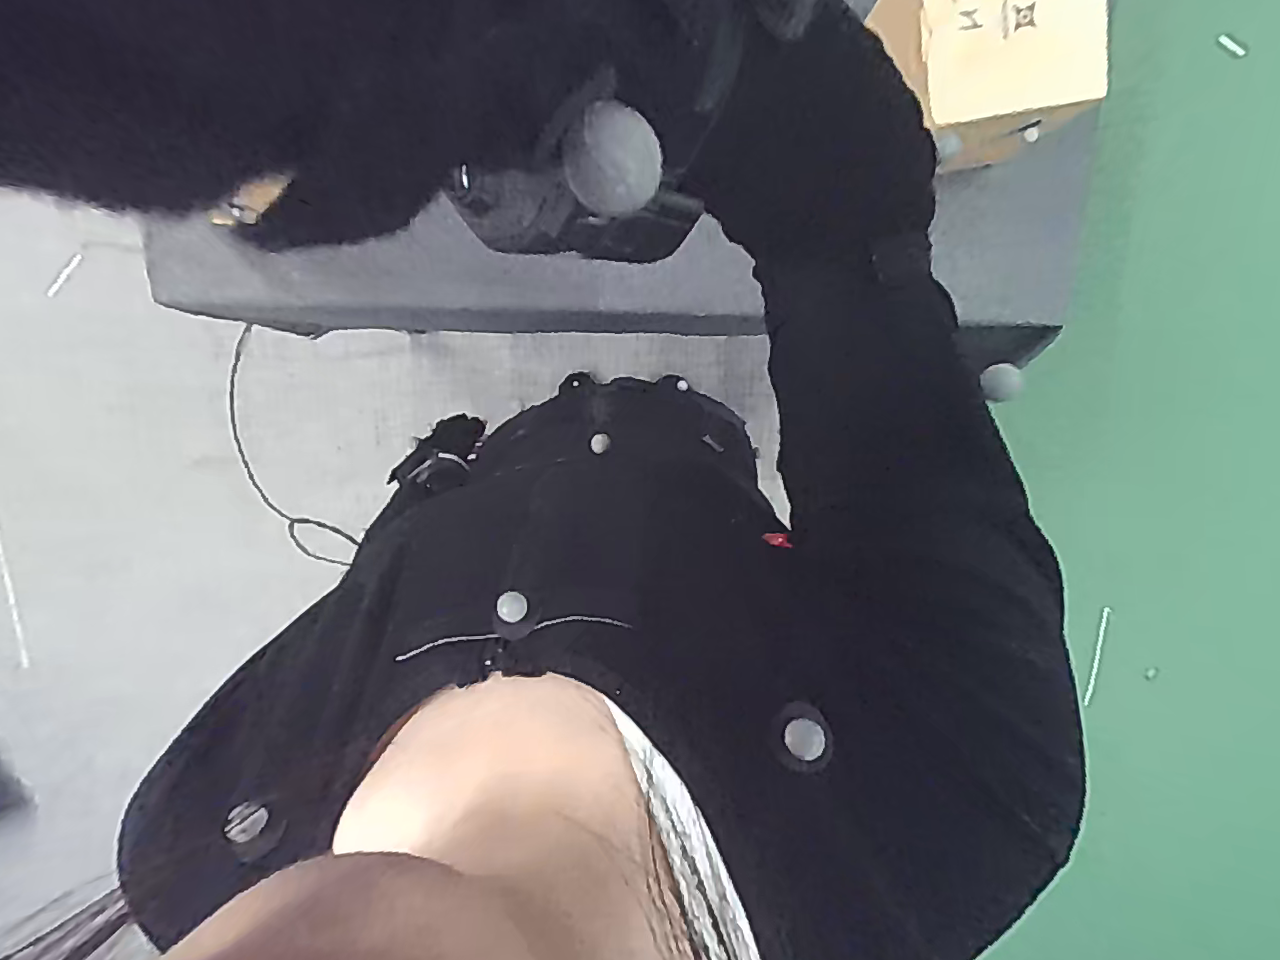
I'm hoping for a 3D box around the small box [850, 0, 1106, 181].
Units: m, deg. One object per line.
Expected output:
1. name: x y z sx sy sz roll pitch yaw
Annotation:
1. small box: 0.352 -0.451 0.588 0.179 0.176 0.168 -9 100 2
